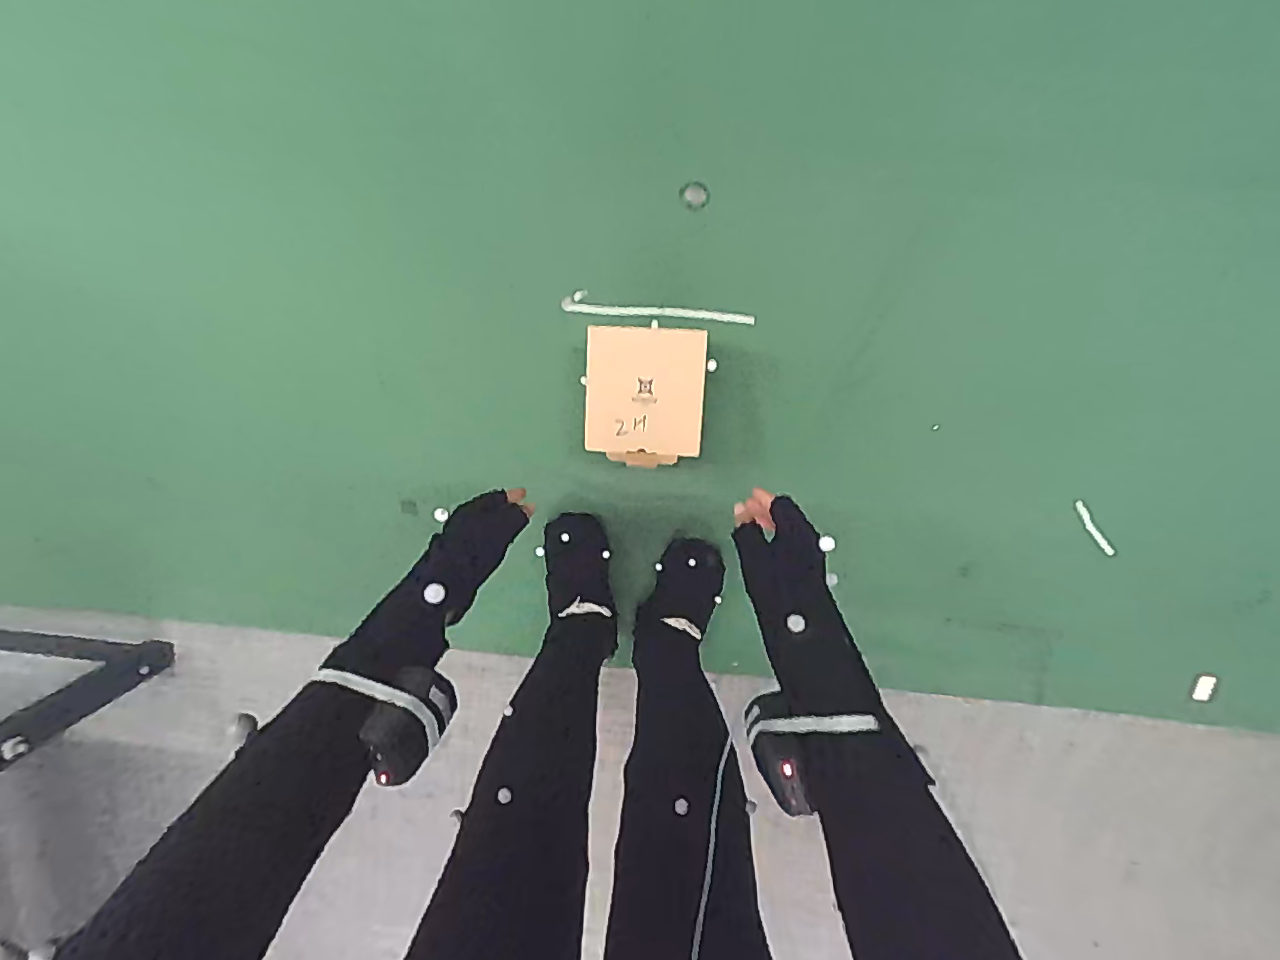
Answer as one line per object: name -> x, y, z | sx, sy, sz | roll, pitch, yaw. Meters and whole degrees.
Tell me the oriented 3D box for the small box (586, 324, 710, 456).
small box -> 0.013, -0.140, 0.833 | 0.168, 0.176, 0.179 | 4, 103, 3
